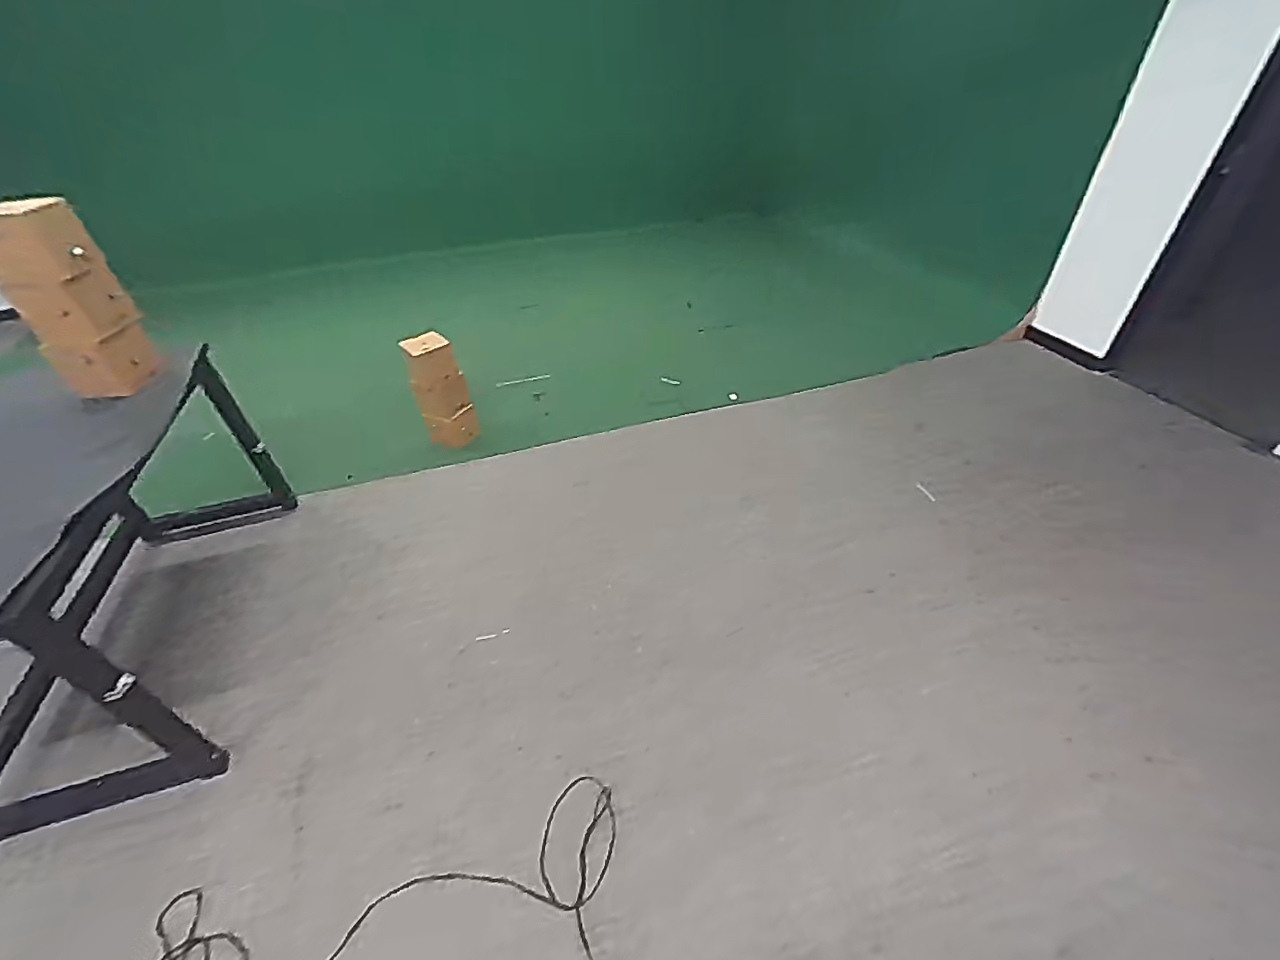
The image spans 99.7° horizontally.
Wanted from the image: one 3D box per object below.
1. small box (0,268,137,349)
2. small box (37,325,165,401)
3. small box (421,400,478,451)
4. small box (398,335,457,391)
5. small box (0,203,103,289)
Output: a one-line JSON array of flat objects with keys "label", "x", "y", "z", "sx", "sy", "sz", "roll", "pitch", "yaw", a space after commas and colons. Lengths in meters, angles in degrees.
[{"label": "small box", "x": -1.603, "y": -0.486, "z": 1.529, "sx": 0.179, "sy": 0.176, "sz": 0.168, "roll": -5, "pitch": 39, "yaw": 2}, {"label": "small box", "x": -1.597, "y": -0.349, "z": 1.618, "sx": 0.179, "sy": 0.176, "sz": 0.168, "roll": -2, "pitch": 40, "yaw": 6}, {"label": "small box", "x": -0.910, "y": -0.259, "z": 2.600, "sx": 0.179, "sy": 0.176, "sz": 0.168, "roll": 17, "pitch": 45, "yaw": 24}, {"label": "small box", "x": -0.941, "y": -0.519, "z": 2.401, "sx": 0.168, "sy": 0.176, "sz": 0.179, "roll": -32, "pitch": 47, "yaw": -29}, {"label": "small box", "x": -1.610, "y": -0.617, "z": 1.430, "sx": 0.179, "sy": 0.176, "sz": 0.168, "roll": -8, "pitch": 40, "yaw": -4}]
